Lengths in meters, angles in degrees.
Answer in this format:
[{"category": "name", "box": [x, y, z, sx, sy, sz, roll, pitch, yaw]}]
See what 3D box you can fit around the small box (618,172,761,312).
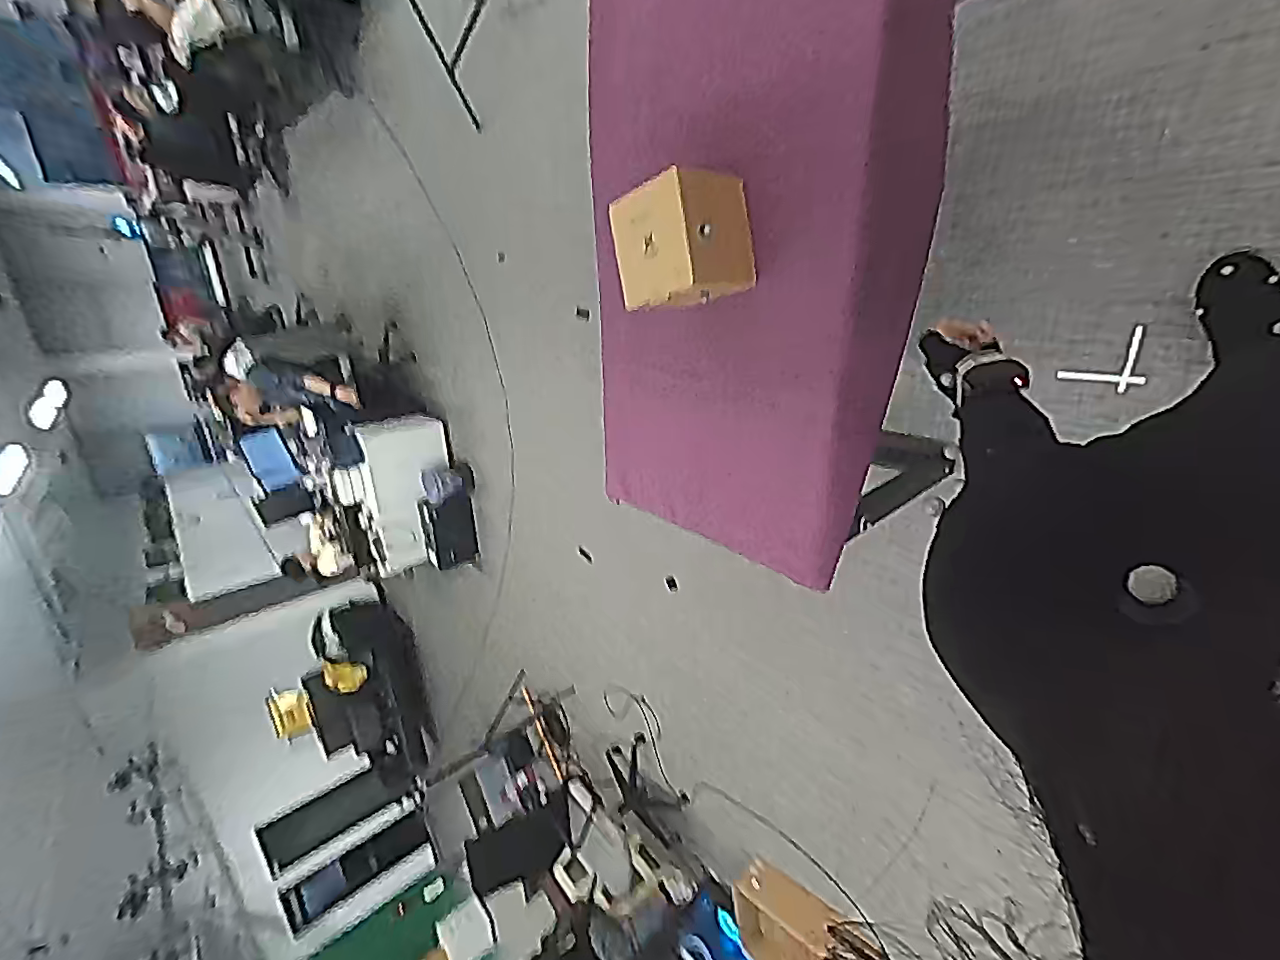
[{"category": "small box", "box": [0.089, -0.401, 0.933, 0.168, 0.176, 0.179, 0, 104, 50]}]
